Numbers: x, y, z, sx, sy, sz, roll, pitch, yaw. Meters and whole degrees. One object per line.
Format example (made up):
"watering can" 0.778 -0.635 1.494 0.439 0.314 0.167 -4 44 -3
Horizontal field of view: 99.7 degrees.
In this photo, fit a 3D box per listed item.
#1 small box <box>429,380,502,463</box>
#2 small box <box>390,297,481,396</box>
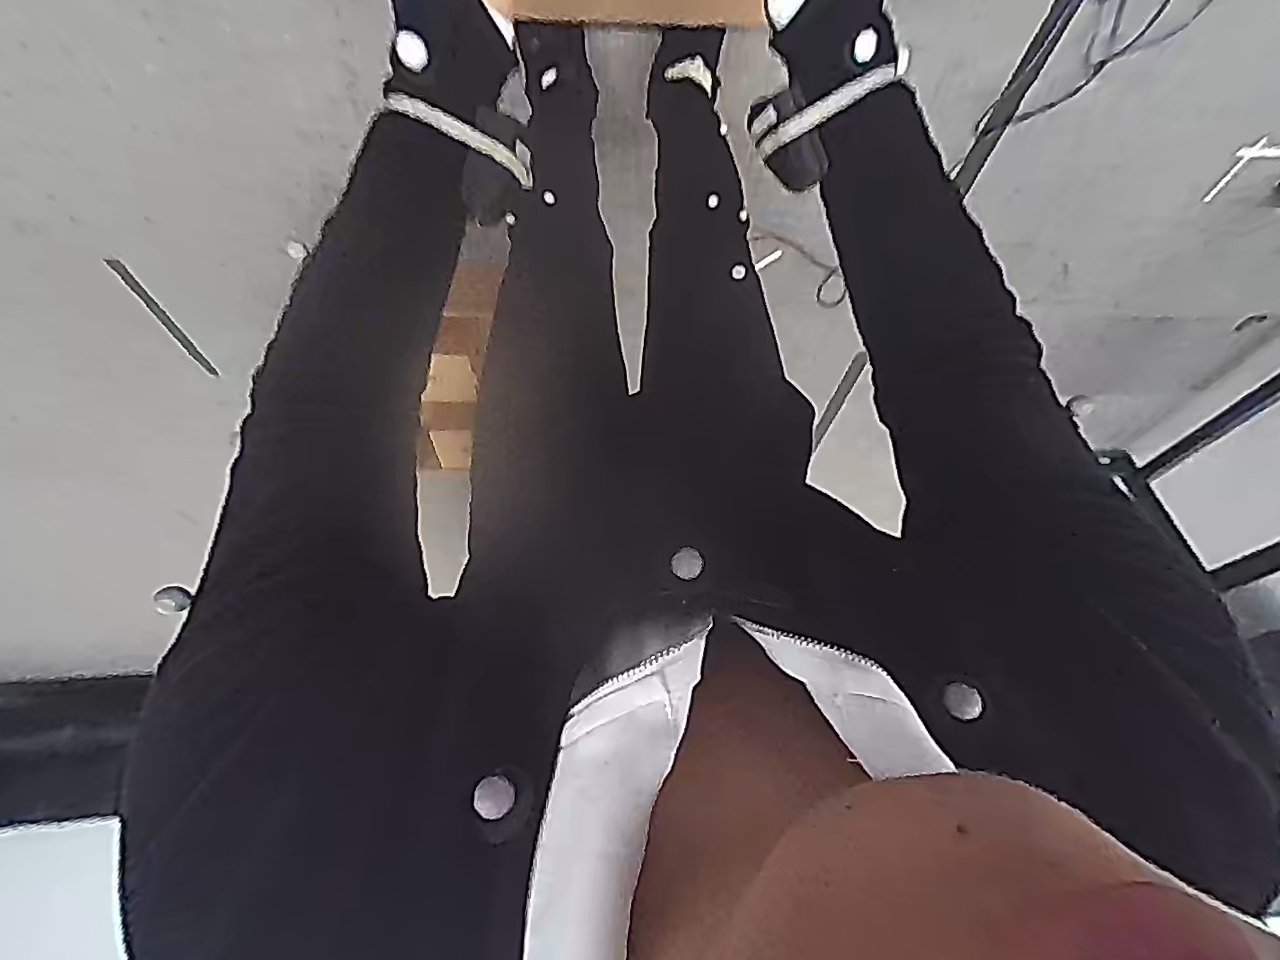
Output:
"small box" -0.490 -0.167 1.544 0.168 0.176 0.179 -3 146 -7
"small box" -0.480 -0.320 1.298 0.179 0.176 0.168 -1 149 -9
